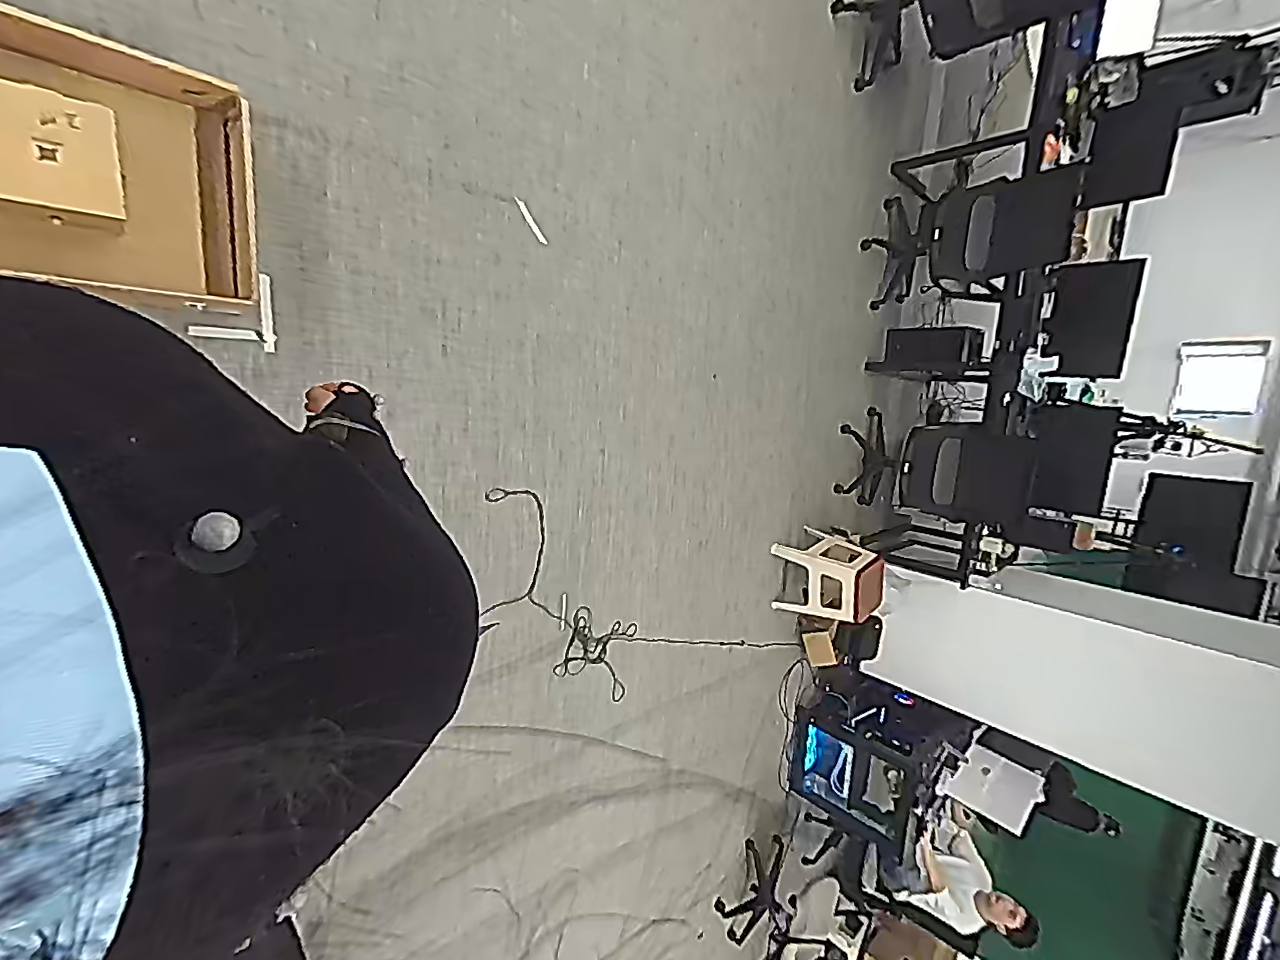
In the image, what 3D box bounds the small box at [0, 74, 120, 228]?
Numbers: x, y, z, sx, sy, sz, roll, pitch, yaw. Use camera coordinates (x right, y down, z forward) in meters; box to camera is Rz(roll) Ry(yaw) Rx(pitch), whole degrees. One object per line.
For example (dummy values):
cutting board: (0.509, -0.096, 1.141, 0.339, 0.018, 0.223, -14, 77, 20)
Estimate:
small box: (-0.987, -0.537, 0.901, 0.168, 0.176, 0.179, -6, 104, -44)
